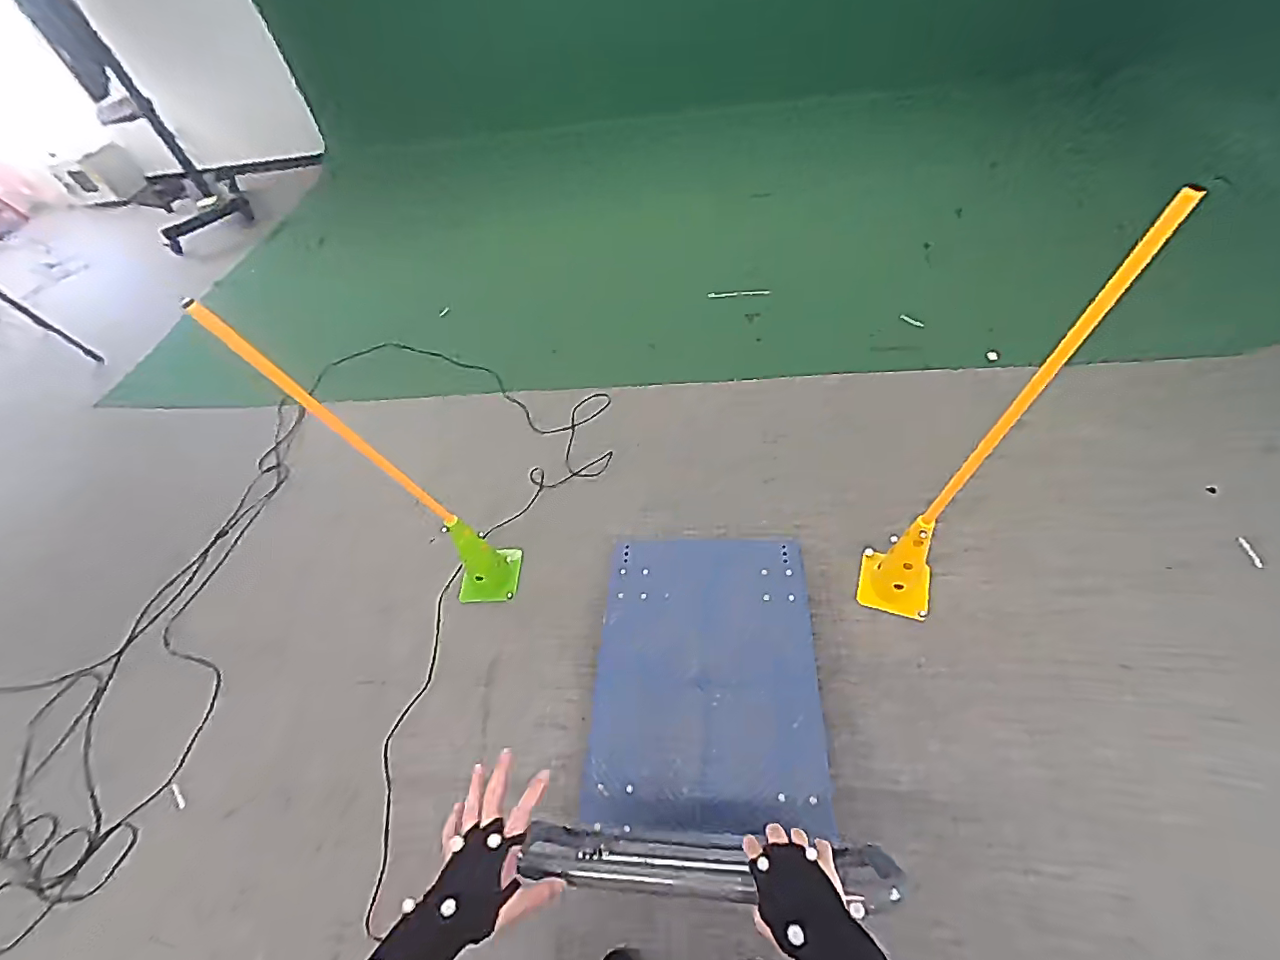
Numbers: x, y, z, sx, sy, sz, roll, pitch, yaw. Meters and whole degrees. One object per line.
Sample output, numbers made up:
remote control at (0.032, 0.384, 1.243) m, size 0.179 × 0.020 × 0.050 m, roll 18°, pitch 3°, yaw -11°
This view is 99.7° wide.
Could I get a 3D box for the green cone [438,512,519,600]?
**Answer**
green cone at (-0.556, 0.216, 1.762) m, size 0.202 × 0.368 × 0.200 m, roll -6°, pitch 51°, yaw 7°
